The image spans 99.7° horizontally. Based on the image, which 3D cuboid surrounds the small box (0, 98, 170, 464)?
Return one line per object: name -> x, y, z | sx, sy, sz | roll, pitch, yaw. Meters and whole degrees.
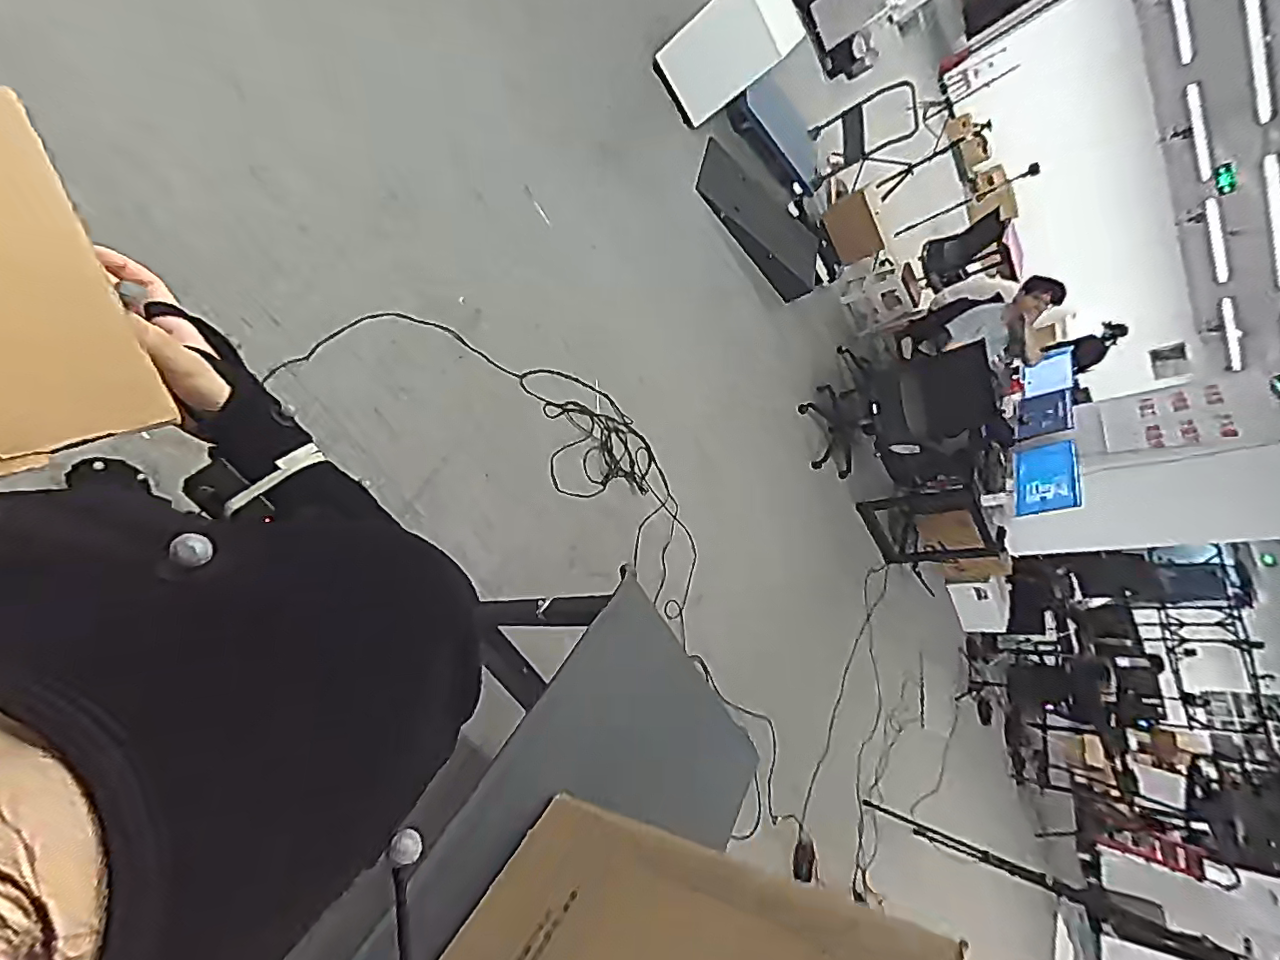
small box -> -0.415, -0.092, 0.299 | 0.168, 0.176, 0.179 | -31, 118, -44
